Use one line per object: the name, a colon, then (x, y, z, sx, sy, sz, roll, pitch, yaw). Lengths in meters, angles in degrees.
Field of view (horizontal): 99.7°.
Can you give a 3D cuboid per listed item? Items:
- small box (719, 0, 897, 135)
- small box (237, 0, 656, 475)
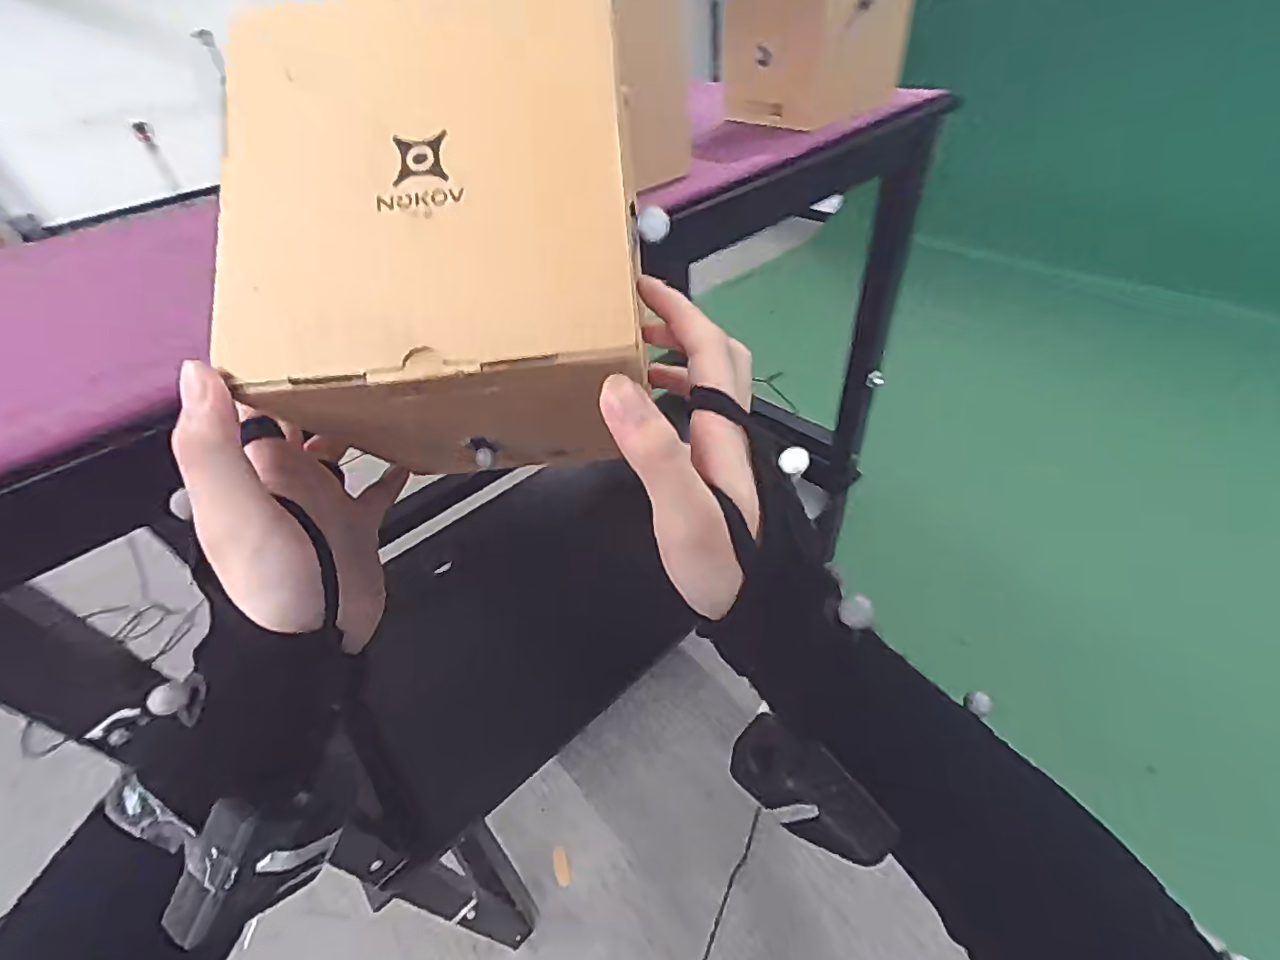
small box: (0.227, -0.588, 0.732, 0.179, 0.176, 0.168, -31, 48, -21)
small box: (-0.078, -0.108, 0.304, 0.168, 0.176, 0.179, -4, 80, 2)
